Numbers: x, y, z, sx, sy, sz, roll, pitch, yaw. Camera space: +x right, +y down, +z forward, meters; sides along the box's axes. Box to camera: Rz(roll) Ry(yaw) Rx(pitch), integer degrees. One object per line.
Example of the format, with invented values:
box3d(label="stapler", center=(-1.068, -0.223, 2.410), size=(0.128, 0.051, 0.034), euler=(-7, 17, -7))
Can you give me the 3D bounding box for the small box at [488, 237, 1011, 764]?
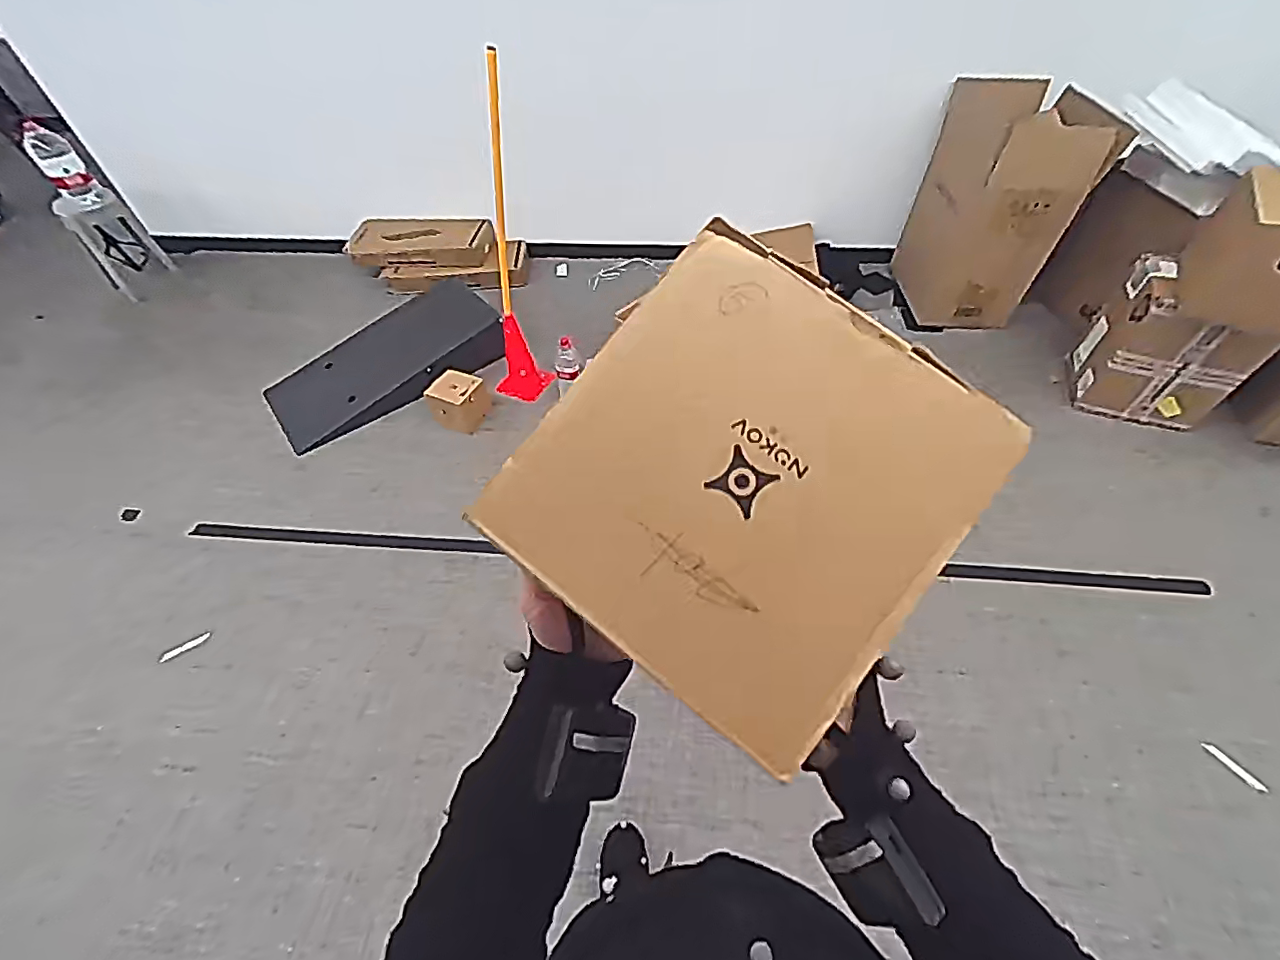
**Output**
box3d(label="small box", center=(0.050, 0.012, 0.313), size=(0.168, 0.176, 0.179), euler=(37, 84, 9))
